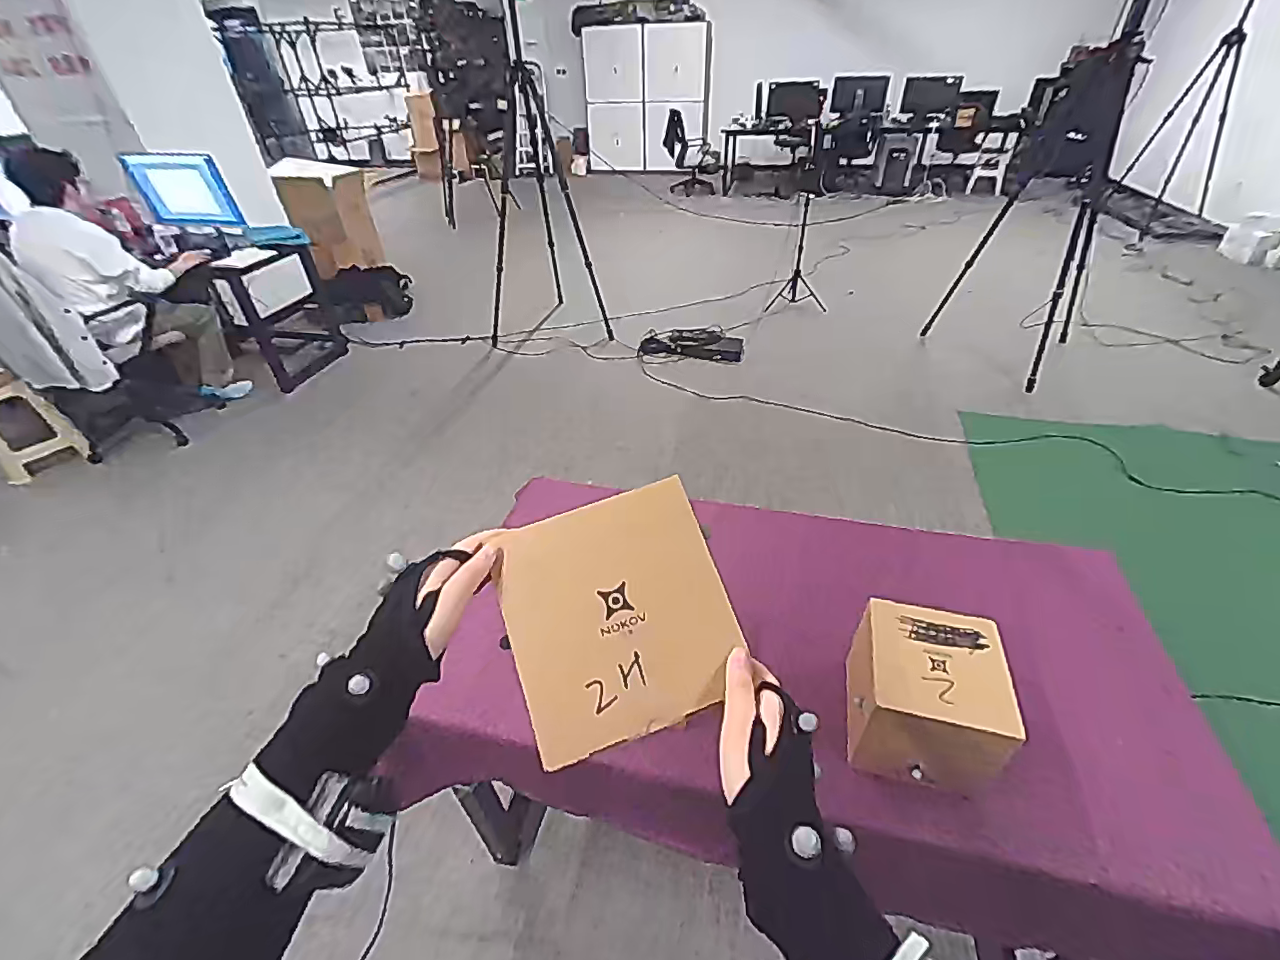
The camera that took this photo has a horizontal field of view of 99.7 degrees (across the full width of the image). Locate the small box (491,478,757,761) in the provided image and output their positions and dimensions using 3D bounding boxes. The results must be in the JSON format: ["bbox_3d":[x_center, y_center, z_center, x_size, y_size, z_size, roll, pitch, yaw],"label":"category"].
[{"bbox_3d":[-0.018,0.122,0.491,0.168,0.176,0.179,-19,75,-6],"label":"small box"}]
